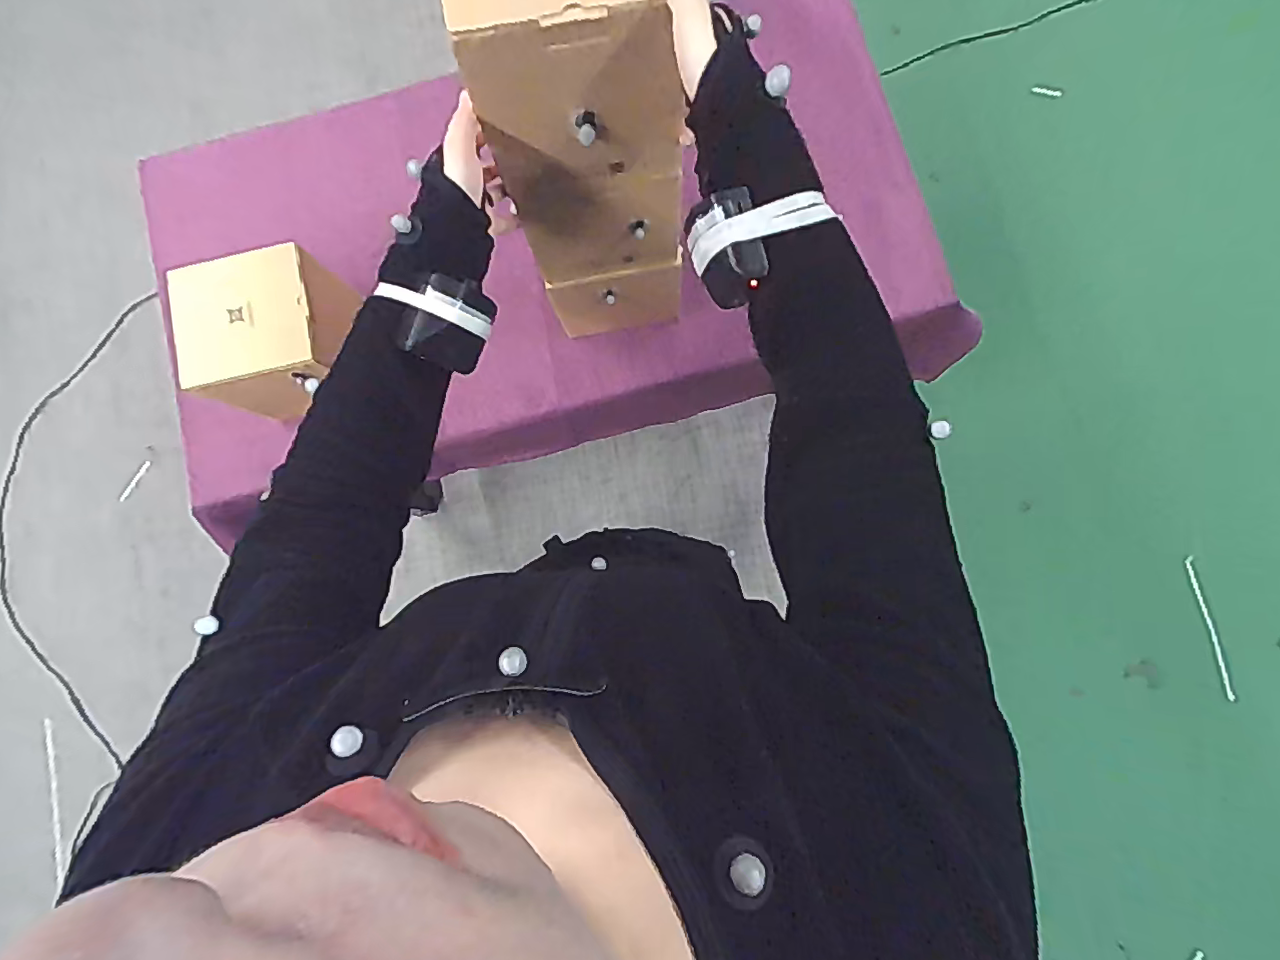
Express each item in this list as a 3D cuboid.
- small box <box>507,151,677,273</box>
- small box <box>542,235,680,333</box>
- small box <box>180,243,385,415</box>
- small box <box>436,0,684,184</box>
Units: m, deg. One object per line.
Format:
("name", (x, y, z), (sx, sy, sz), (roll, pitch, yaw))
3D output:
("small box", (-0.051, -0.352, 0.603), (0.168, 0.176, 0.179), (-9, 82, 1))
("small box", (-0.039, -0.323, 0.763), (0.179, 0.176, 0.168), (-9, 83, 2))
("small box", (-0.502, -0.204, 0.779), (0.179, 0.176, 0.168), (-13, 82, 1))
("small box", (-0.060, -0.371, 0.440), (0.168, 0.176, 0.179), (-10, 84, 0))
